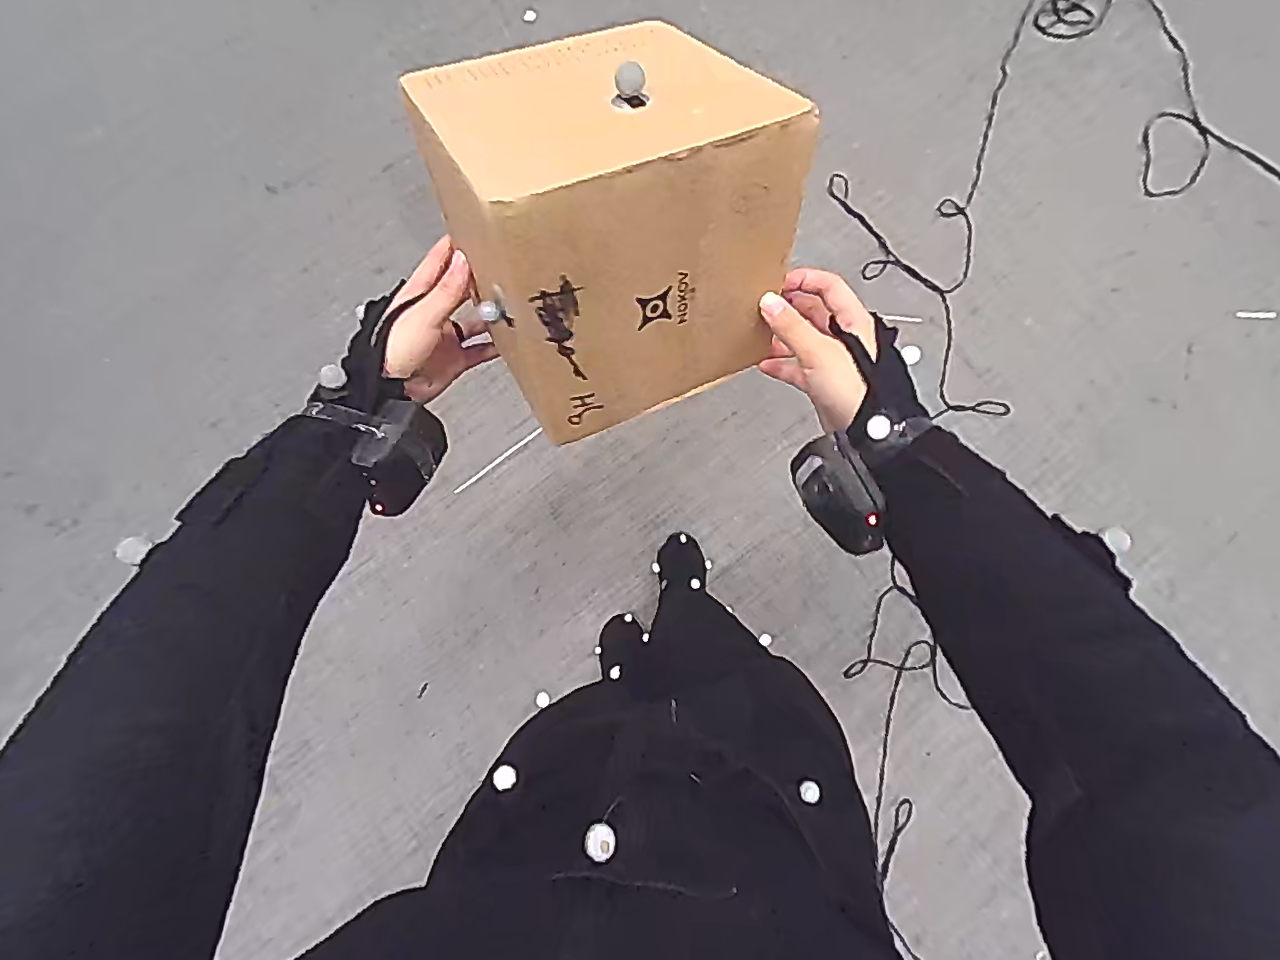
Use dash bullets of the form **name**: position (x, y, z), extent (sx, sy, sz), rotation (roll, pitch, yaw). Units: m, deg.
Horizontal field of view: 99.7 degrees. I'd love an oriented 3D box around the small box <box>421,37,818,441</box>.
- **small box**: position (-0.019, -0.163, 0.363), extent (0.179, 0.168, 0.176), rotation (-23, 57, -13)
